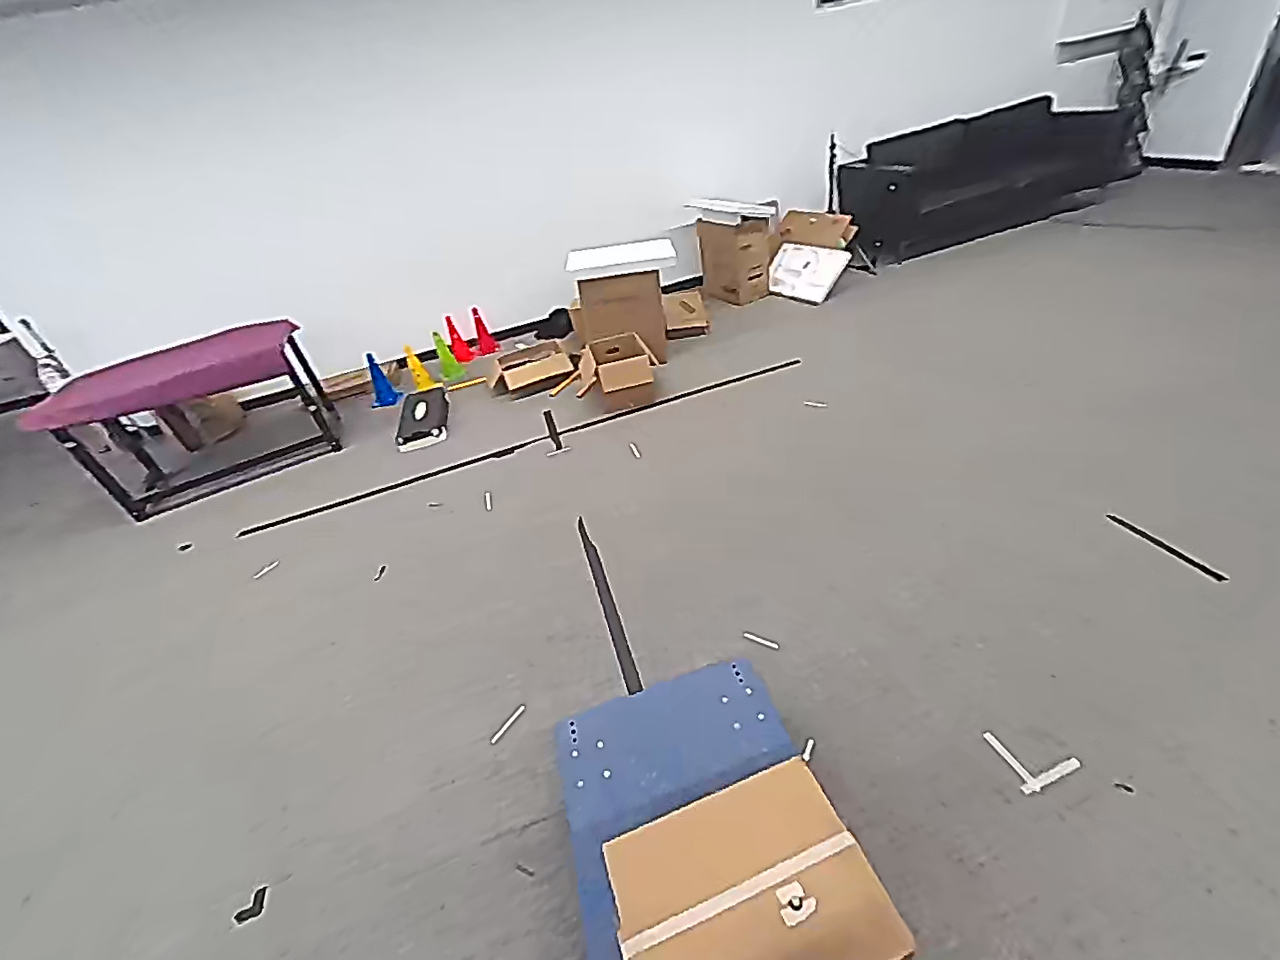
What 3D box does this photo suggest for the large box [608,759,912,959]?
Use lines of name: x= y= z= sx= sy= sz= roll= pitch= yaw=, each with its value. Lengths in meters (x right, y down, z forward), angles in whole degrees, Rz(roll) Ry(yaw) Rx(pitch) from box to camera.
large box: x=0.195 y=0.795 z=0.966 sx=0.408 sy=0.320 sz=0.320 roll=-18 pitch=36 yaw=-10
